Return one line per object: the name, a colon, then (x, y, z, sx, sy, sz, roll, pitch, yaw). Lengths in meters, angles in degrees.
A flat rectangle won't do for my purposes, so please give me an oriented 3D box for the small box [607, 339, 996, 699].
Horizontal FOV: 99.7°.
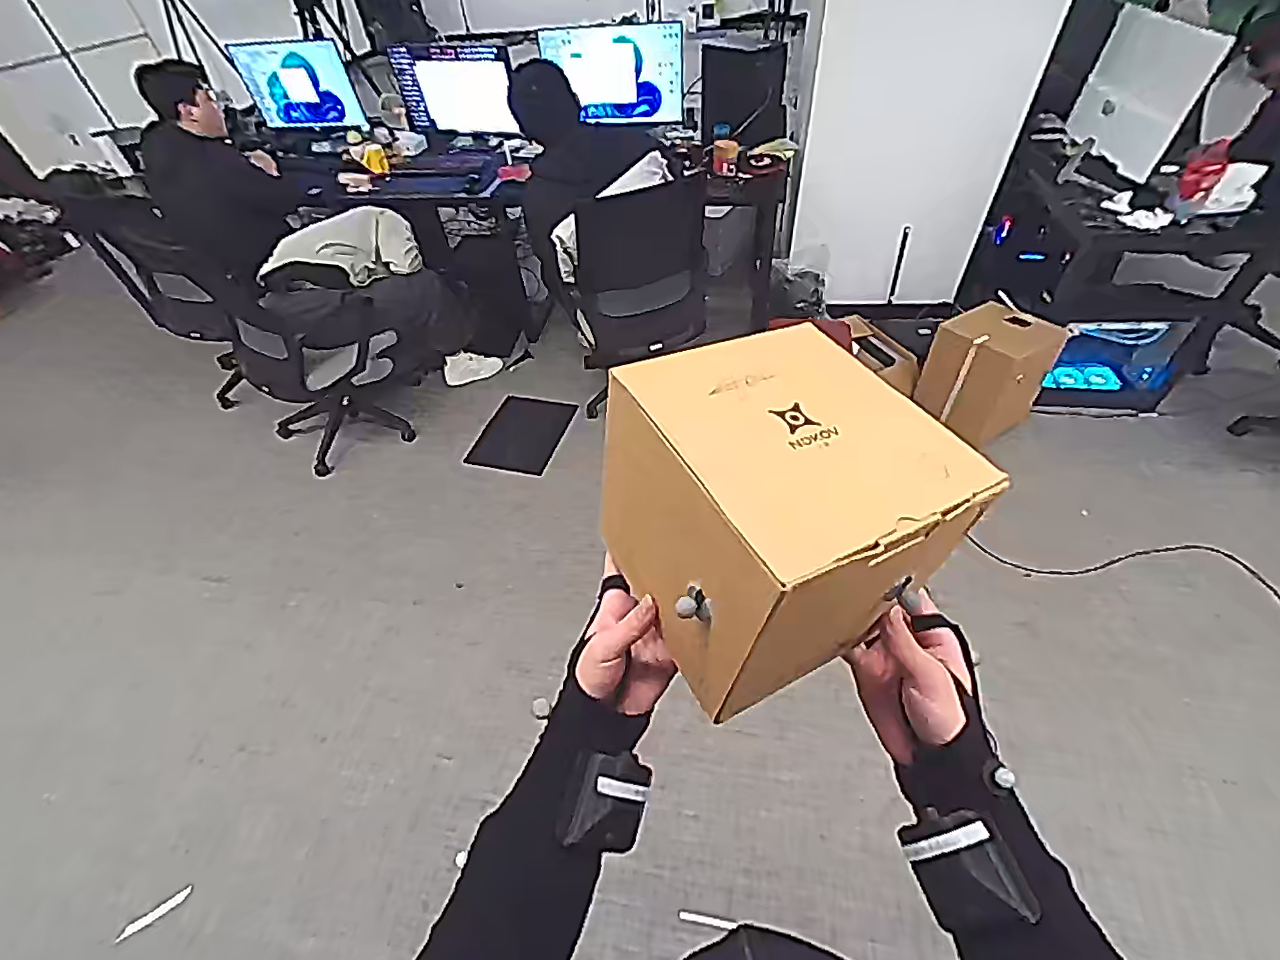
small box: (0.087, 0.029, 0.384, 0.168, 0.176, 0.179, -17, 50, -24)
